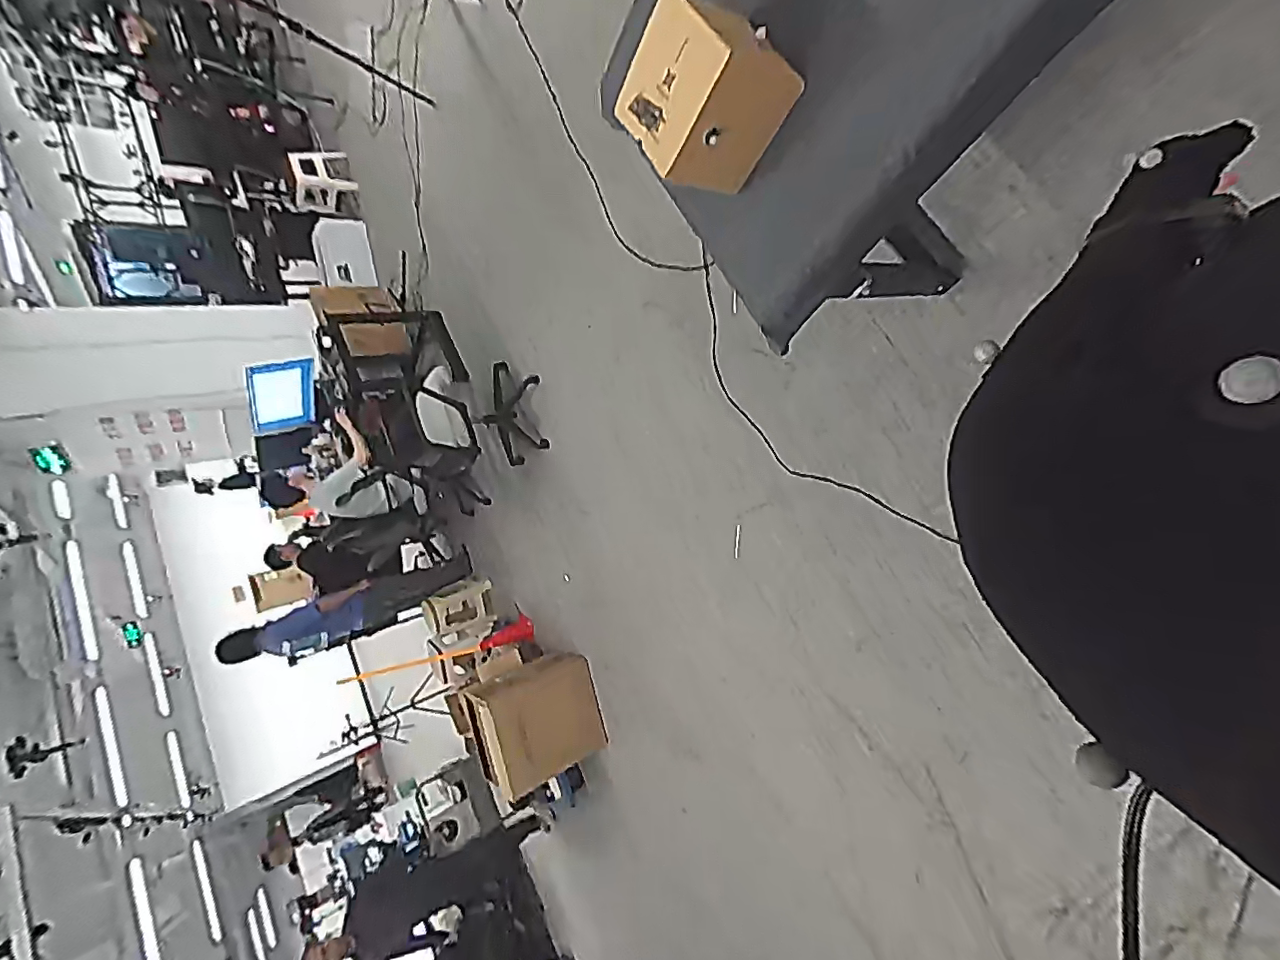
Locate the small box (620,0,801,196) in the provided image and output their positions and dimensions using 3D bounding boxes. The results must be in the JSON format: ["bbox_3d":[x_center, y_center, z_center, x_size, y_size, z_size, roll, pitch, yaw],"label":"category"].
[{"bbox_3d":[0.104,-0.560,0.812,0.168,0.176,0.179,60,139,18],"label":"small box"}]
